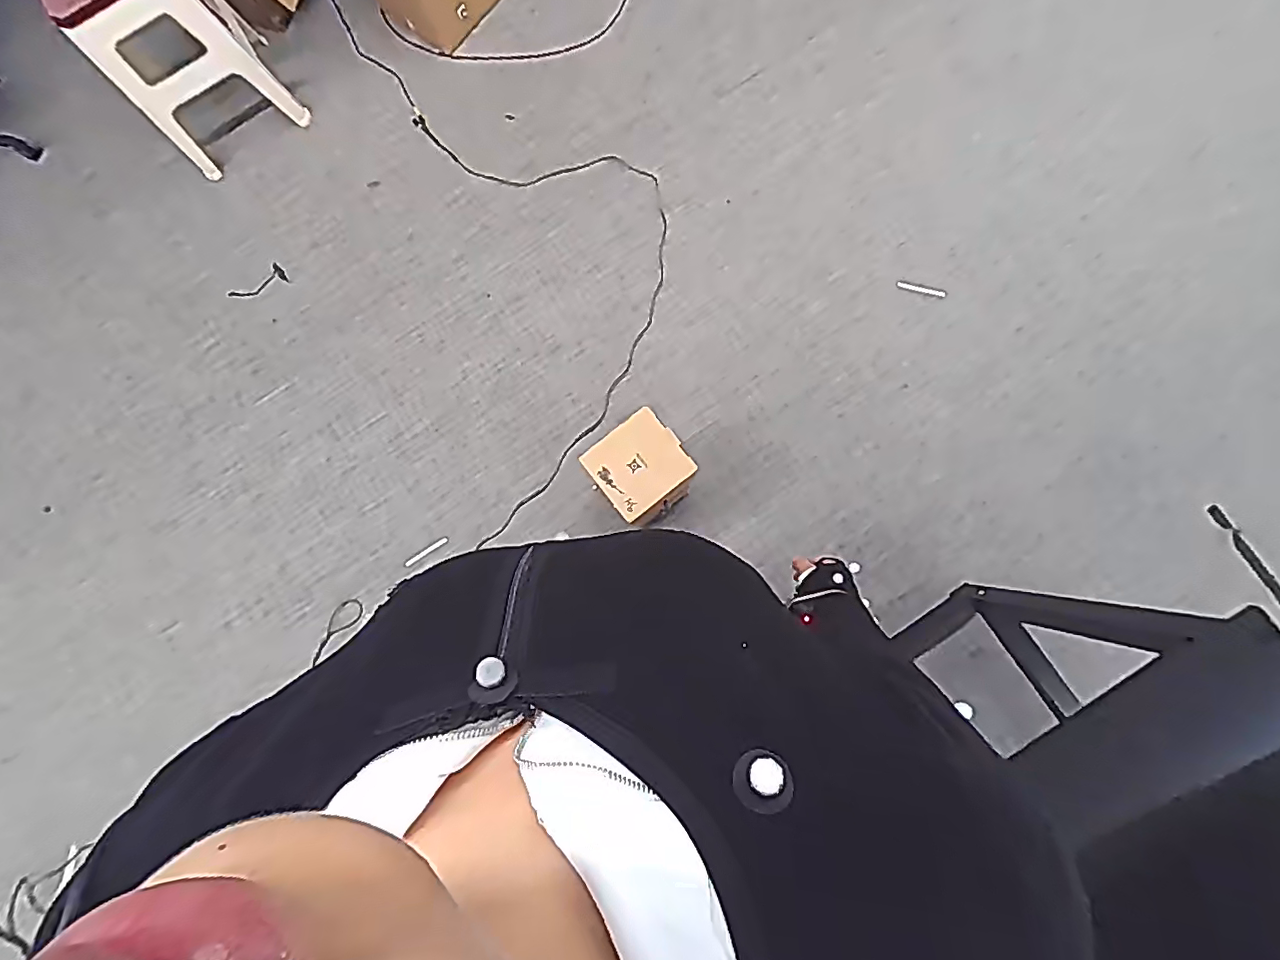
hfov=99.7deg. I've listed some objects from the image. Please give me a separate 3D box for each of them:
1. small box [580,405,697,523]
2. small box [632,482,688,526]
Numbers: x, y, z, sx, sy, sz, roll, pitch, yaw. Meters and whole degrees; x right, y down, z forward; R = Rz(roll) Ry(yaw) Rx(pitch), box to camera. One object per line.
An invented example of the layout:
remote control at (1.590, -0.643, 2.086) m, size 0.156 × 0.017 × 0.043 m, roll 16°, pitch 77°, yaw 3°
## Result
small box at (-0.002, -0.026, 1.132) m, size 0.179 × 0.176 × 0.168 m, roll -38°, pitch 82°, yaw -3°
small box at (0.009, 0.008, 1.456) m, size 0.179 × 0.176 × 0.168 m, roll -37°, pitch 82°, yaw -1°
